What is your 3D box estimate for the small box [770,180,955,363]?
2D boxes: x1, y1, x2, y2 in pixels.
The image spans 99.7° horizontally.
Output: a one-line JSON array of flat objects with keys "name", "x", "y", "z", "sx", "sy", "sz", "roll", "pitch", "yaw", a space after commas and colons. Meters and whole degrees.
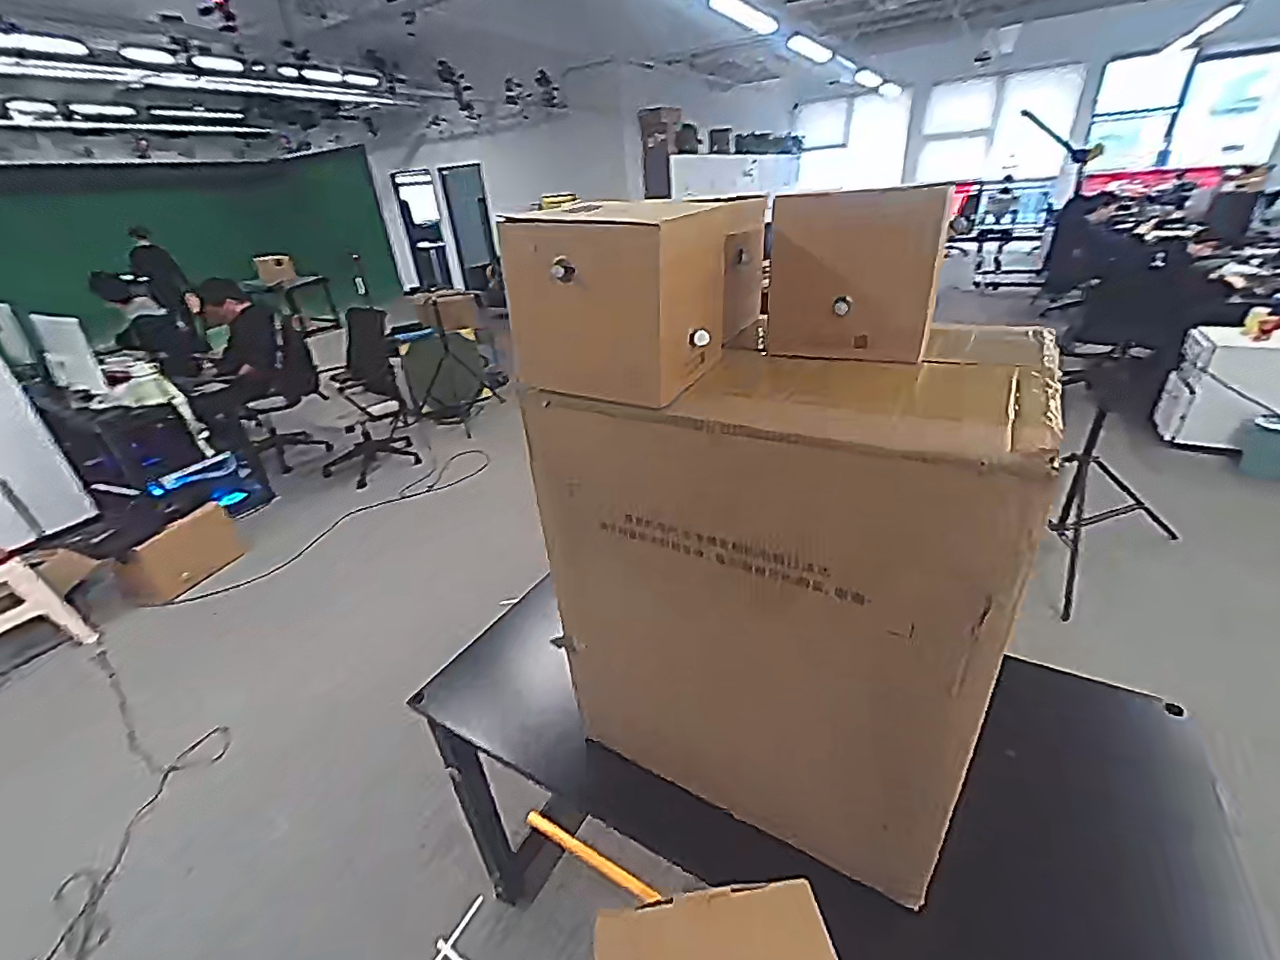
[{"name": "small box", "x": 0.252, "y": -0.243, "z": 0.624, "sx": 0.168, "sy": 0.176, "sz": 0.179, "roll": 10, "pitch": 30, "yaw": 27}]

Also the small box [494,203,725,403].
[{"name": "small box", "x": -0.023, "y": -0.191, "z": 0.570, "sx": 0.179, "sy": 0.176, "sz": 0.168, "roll": 14, "pitch": 35, "yaw": 24}]

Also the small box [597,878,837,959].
[{"name": "small box", "x": 0.056, "y": 0.417, "z": 0.363, "sx": 0.168, "sy": 0.176, "sz": 0.179, "roll": -3, "pitch": 27, "yaw": -6}]
